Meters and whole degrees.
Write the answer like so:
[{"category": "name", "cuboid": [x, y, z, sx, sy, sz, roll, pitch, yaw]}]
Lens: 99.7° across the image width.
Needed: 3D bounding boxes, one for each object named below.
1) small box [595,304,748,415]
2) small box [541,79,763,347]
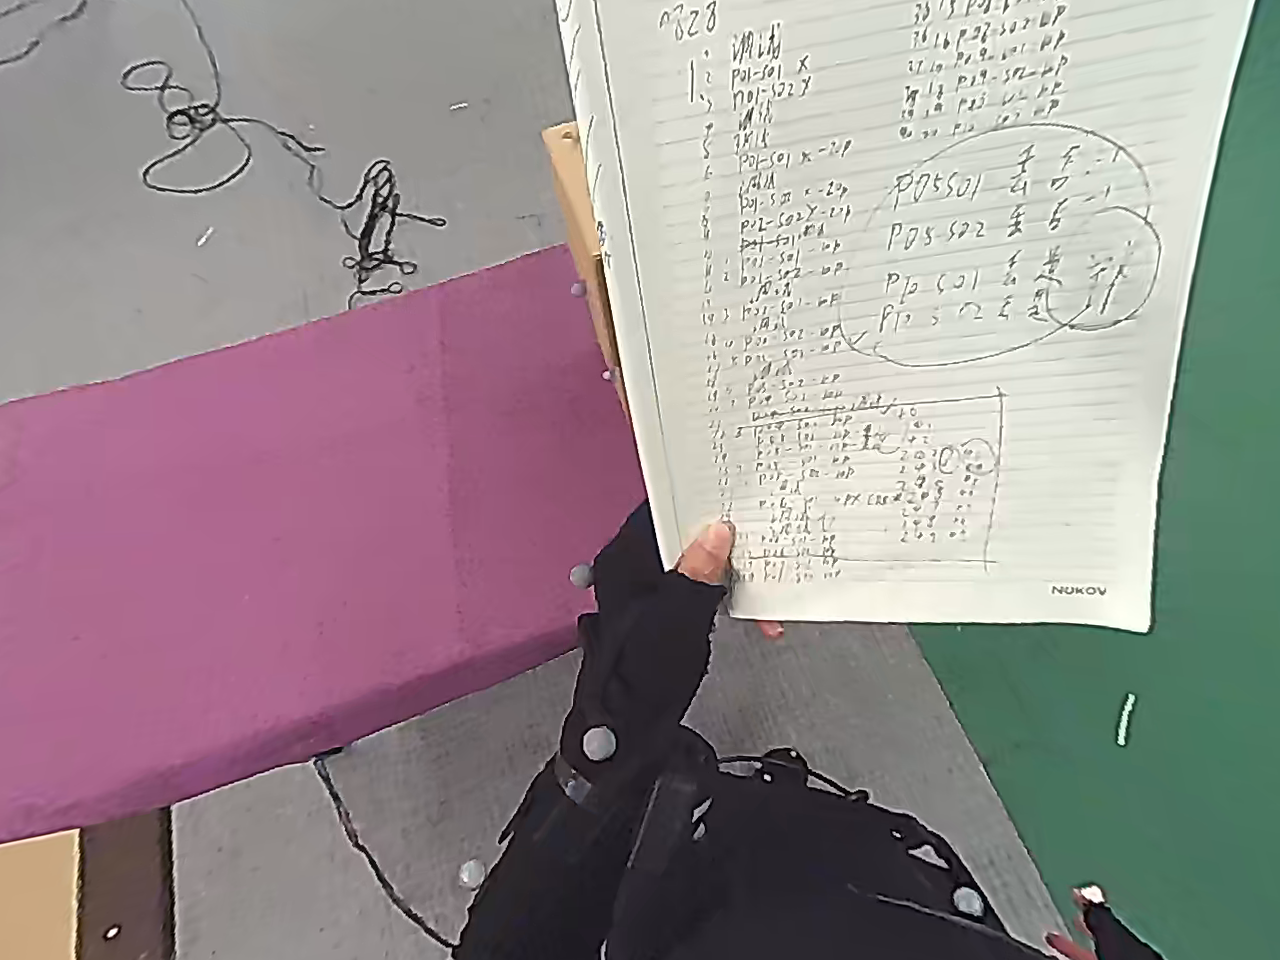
[{"category": "small box", "cuboid": [0.032, -0.205, 0.722, 0.168, 0.176, 0.179, -19, 68, -3]}, {"category": "small box", "cuboid": [0.013, -0.263, 0.569, 0.168, 0.176, 0.179, -18, 69, -3]}]
